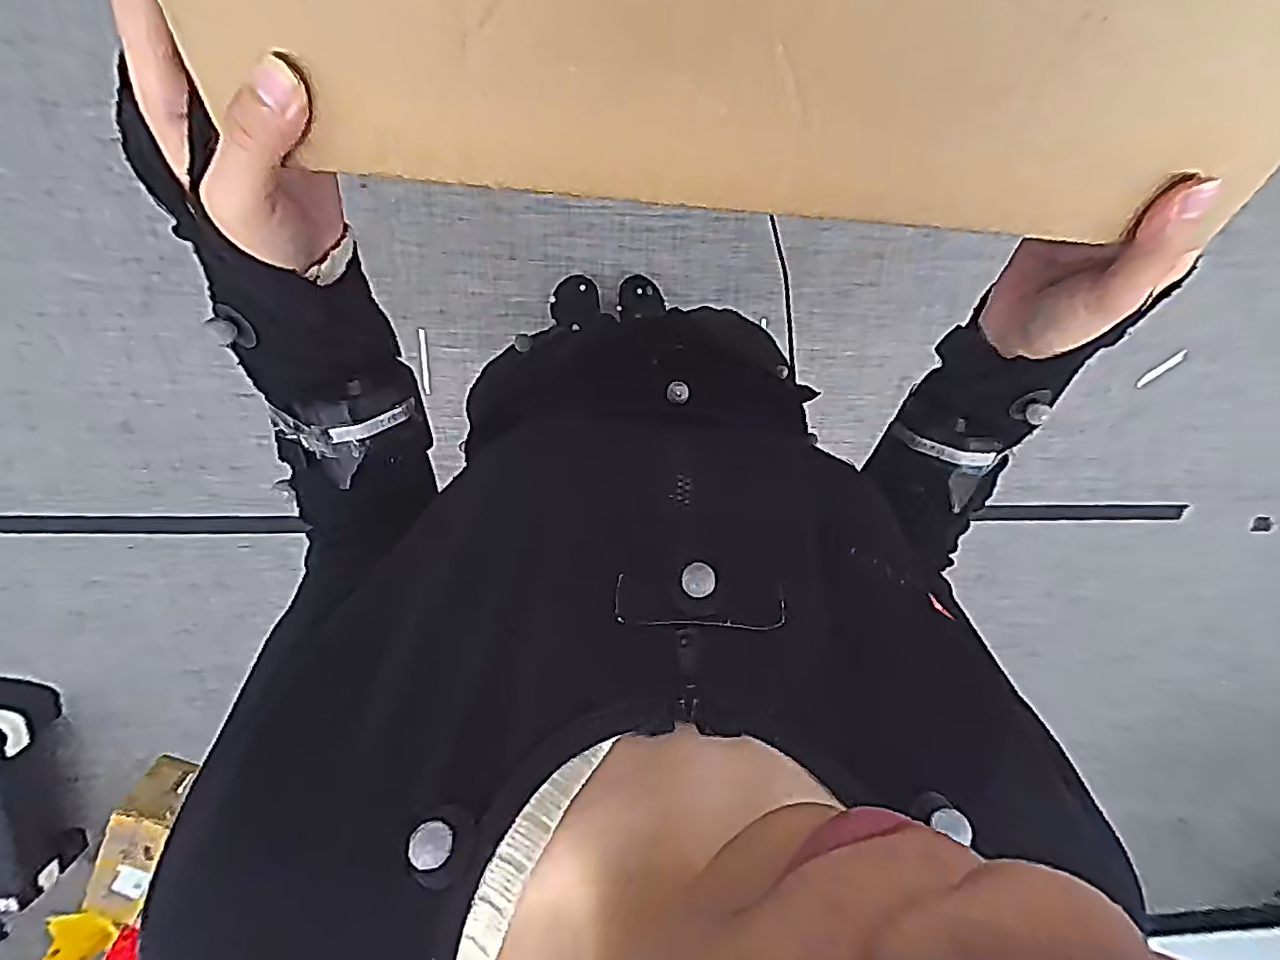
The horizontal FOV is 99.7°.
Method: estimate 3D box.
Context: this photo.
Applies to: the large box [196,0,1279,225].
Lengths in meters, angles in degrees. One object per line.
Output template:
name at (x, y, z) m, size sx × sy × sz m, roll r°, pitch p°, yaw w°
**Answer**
large box at (0.055, -0.330, 0.210) m, size 0.408 × 0.320 × 0.320 m, roll 1°, pitch 140°, yaw -6°
